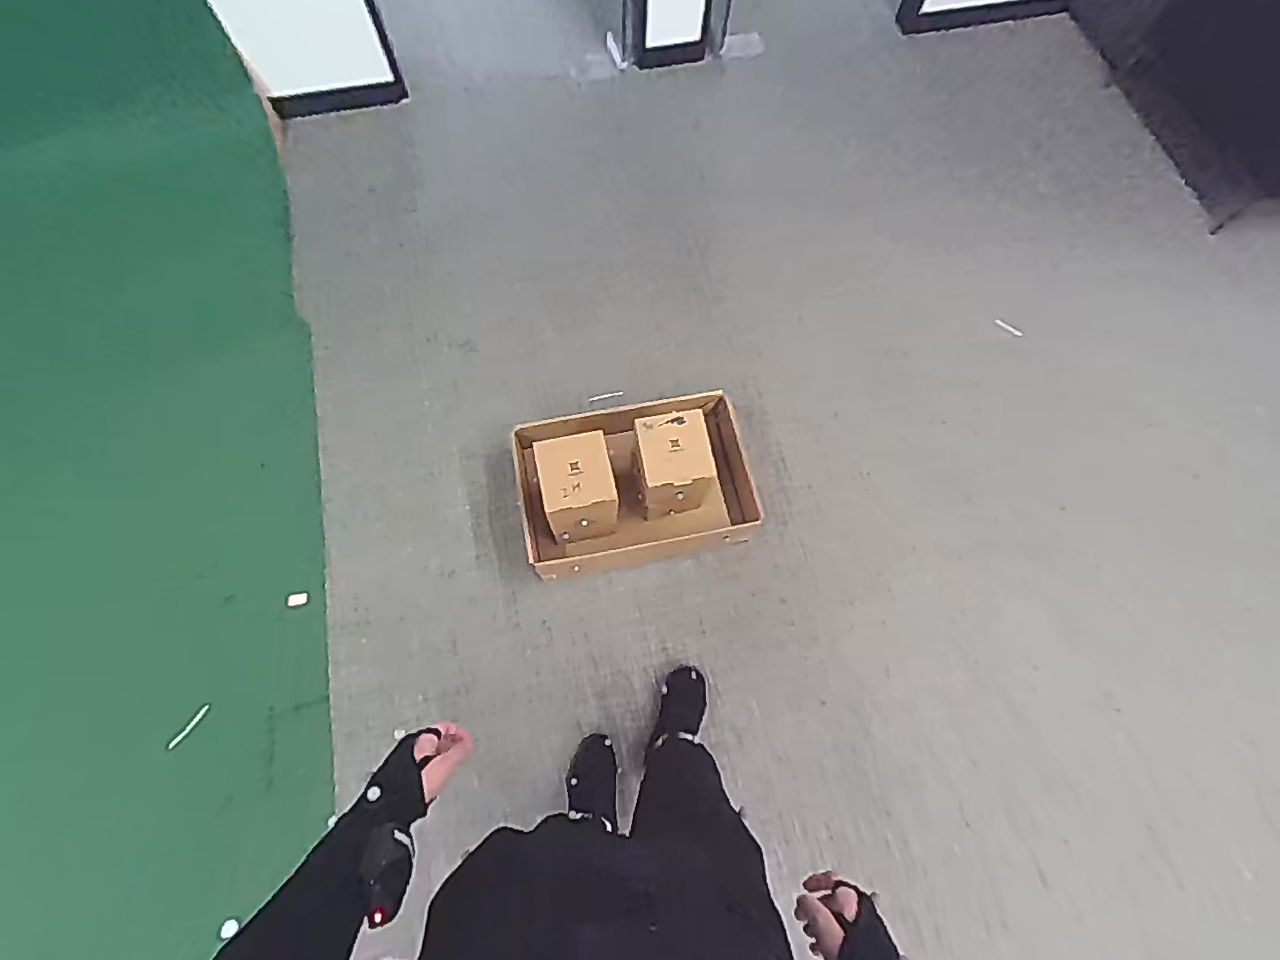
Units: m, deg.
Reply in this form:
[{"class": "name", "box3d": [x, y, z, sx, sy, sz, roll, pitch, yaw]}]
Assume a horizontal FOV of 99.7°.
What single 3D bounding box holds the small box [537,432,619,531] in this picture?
[{"class": "small box", "box3d": [-0.148, 0.008, 1.301, 0.168, 0.176, 0.179, -11, 71, -7]}]
